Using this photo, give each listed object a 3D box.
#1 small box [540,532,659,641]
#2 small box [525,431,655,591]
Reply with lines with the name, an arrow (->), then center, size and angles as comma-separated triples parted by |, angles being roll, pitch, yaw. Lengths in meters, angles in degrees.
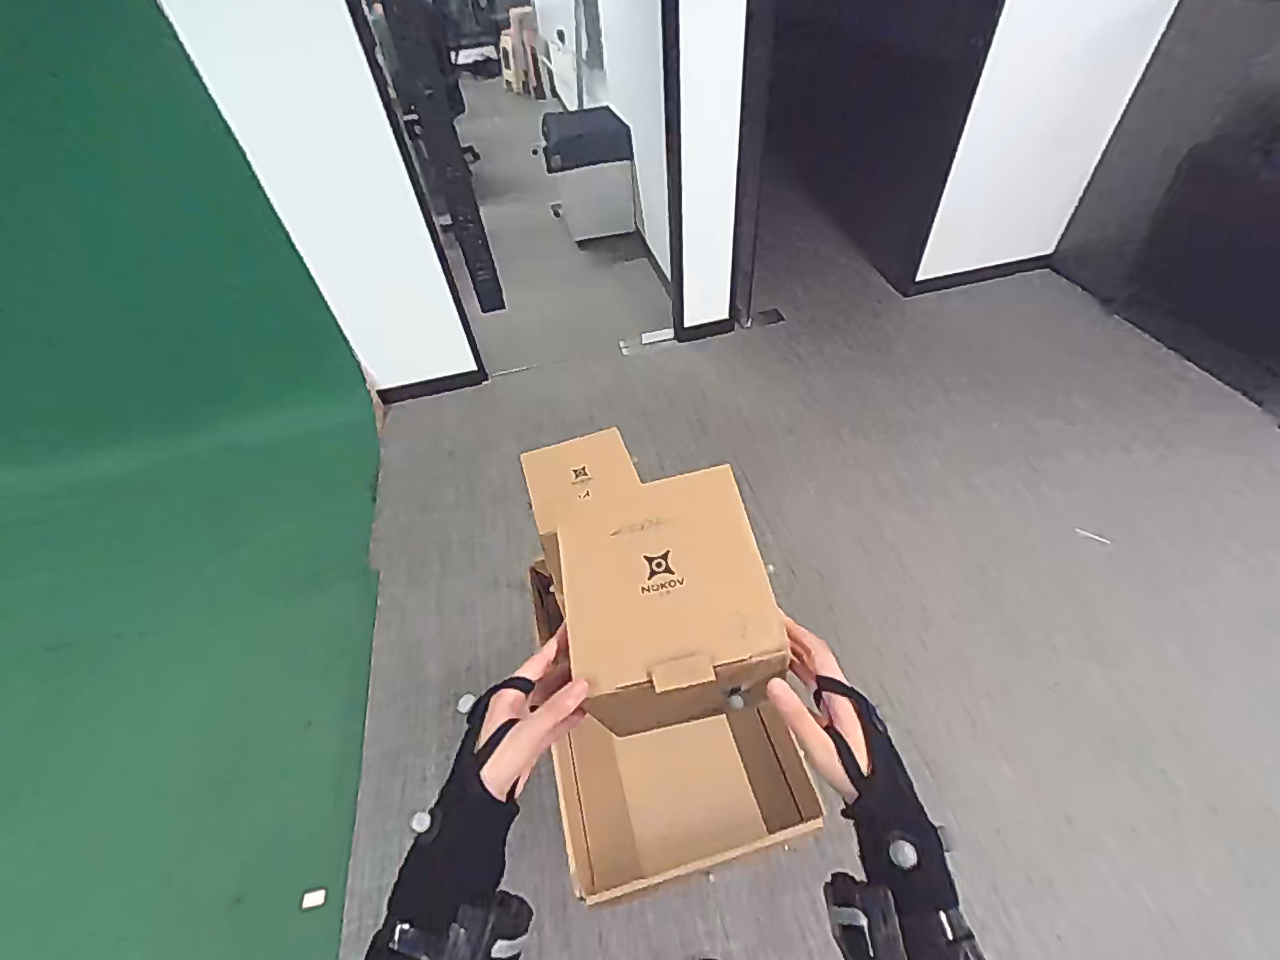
small box -> -0.070, 0.171, 1.006 | 0.179, 0.176, 0.168 | -18, 49, -9
small box -> -0.080, 0.052, 0.891 | 0.168, 0.176, 0.179 | -17, 49, -7
